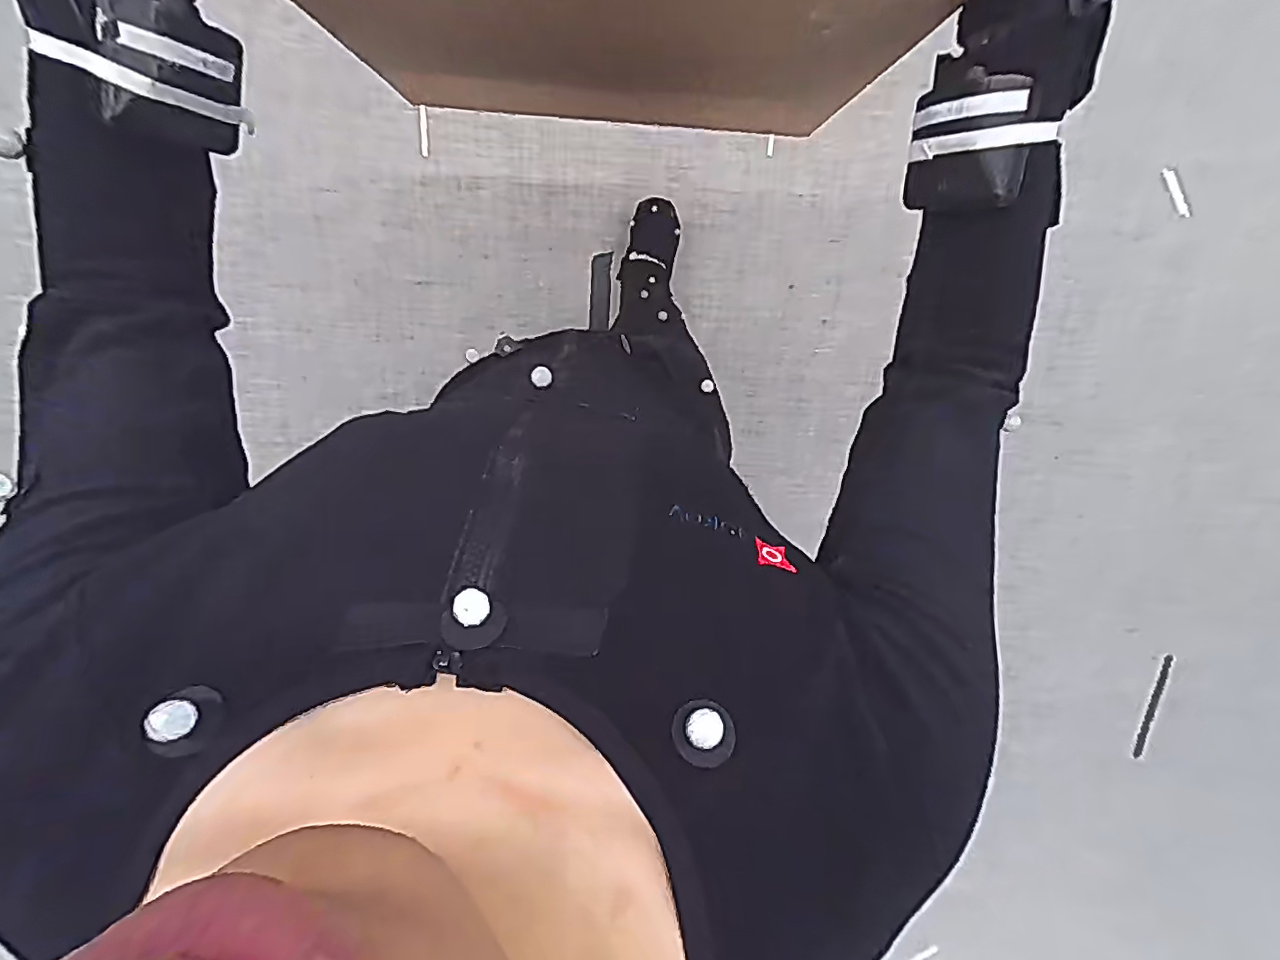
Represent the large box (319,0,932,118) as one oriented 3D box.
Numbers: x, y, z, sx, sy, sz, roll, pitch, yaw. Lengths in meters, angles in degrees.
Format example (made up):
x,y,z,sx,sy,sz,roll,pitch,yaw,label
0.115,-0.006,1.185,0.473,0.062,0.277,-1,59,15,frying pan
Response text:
x,y,z,sx,sy,sz,roll,pitch,yaw,label
-0.014,-0.465,0.354,0.408,0.320,0.320,2,110,-3,large box
